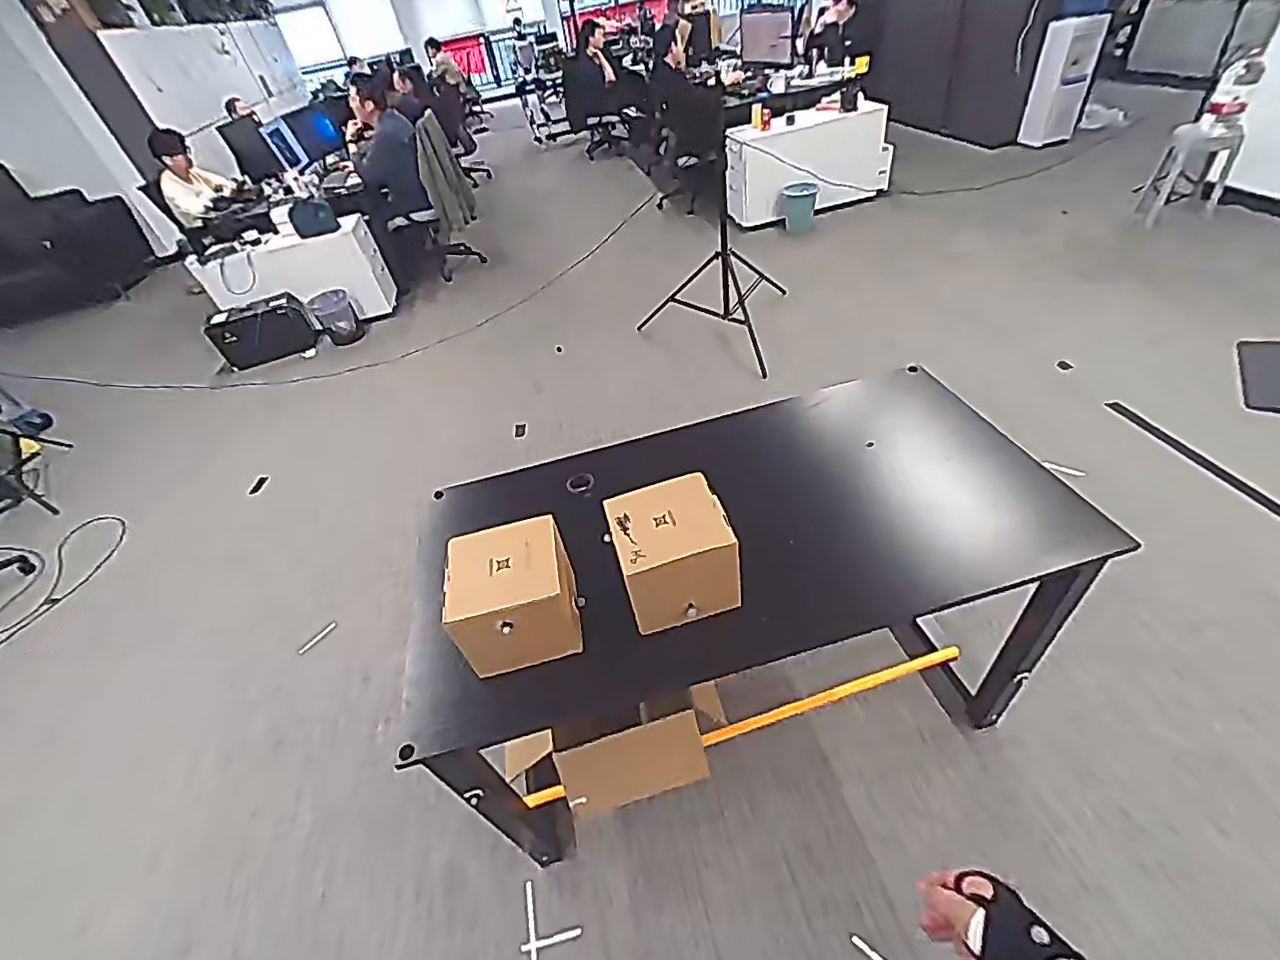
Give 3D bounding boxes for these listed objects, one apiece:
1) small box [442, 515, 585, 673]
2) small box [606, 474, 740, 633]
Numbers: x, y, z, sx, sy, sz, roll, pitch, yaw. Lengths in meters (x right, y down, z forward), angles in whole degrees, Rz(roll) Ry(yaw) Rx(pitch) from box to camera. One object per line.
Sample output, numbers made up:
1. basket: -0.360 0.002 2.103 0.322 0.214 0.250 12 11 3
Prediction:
1. small box: -0.200 0.188 0.878 0.179 0.176 0.168 -14 44 -4
2. small box: 0.054 0.122 0.891 0.179 0.176 0.168 -15 42 -5
